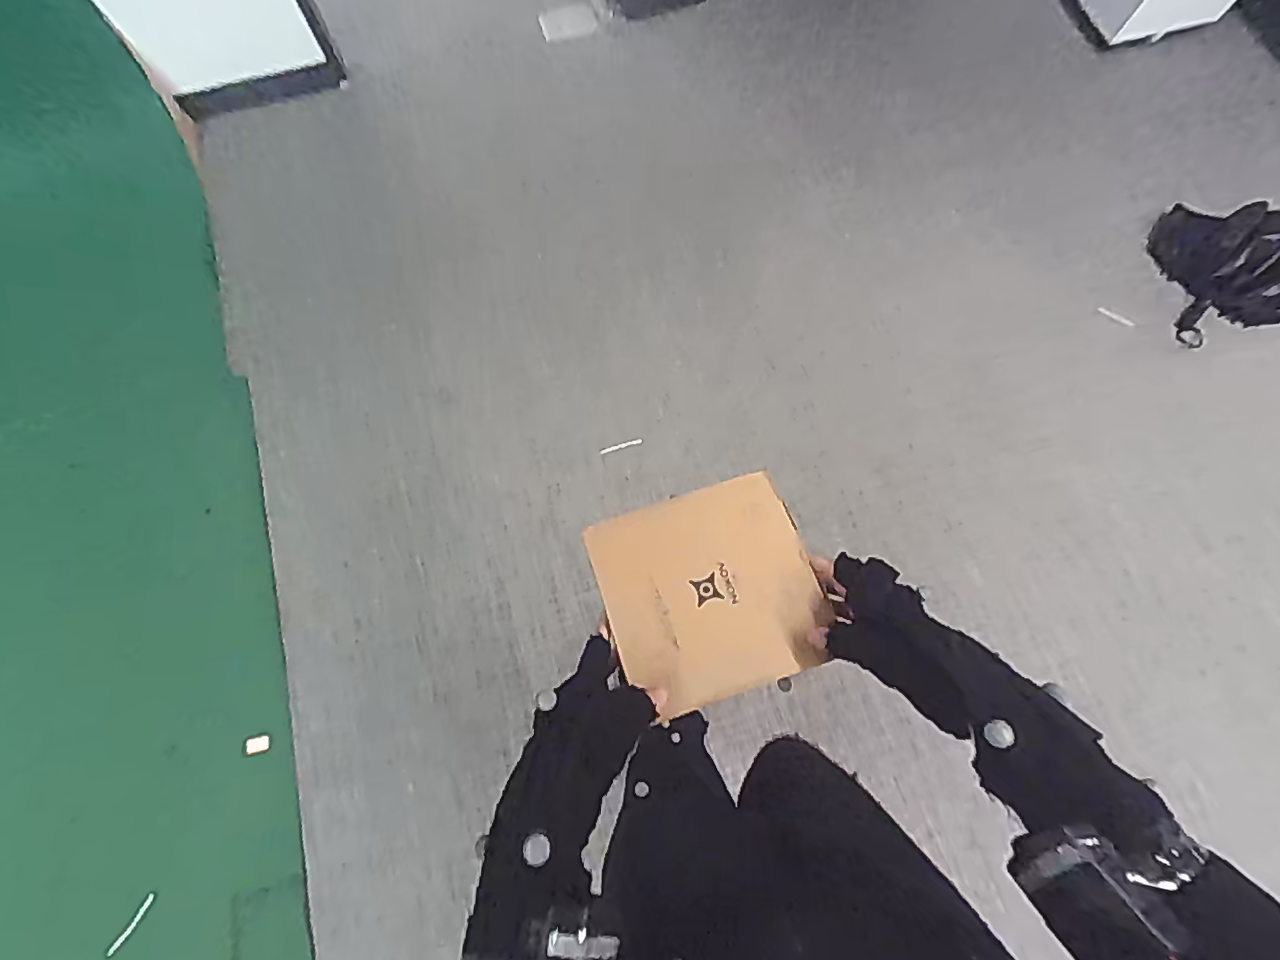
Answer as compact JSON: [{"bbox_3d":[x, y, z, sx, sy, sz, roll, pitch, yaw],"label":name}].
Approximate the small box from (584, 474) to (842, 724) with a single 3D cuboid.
[{"bbox_3d":[0.058,0.118,0.523,0.179,0.176,0.168,-18,70,-4],"label":"small box"}]
